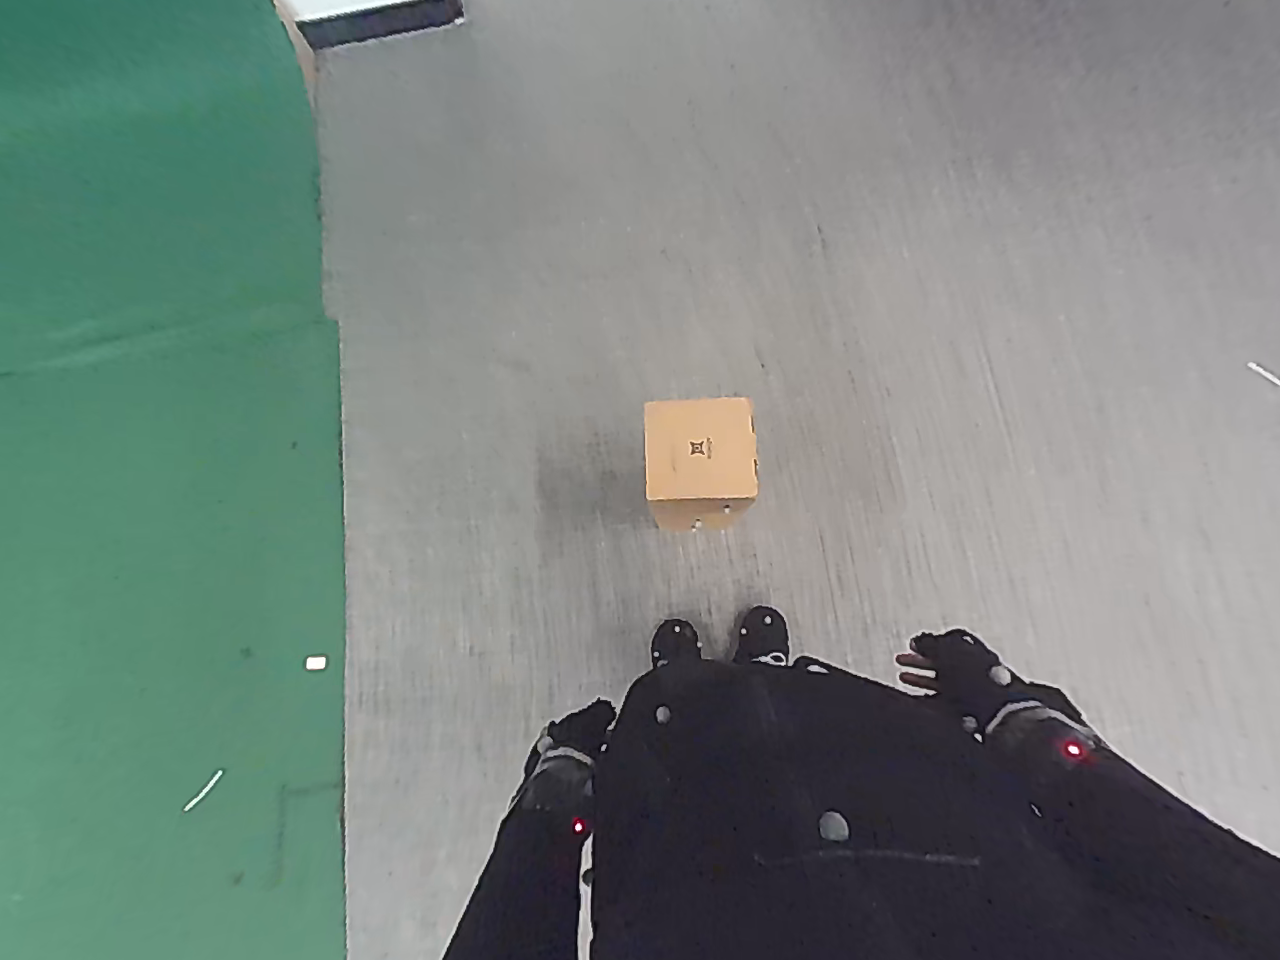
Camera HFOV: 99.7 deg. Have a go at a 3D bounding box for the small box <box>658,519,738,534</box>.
[{"bbox_3d":[0.129,0.034,1.257,0.179,0.176,0.168,-3,78,5],"label":"small box"}]

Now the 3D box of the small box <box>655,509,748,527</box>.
[{"bbox_3d":[0.116,0.004,1.100,0.179,0.176,0.168,-5,80,4],"label":"small box"}]

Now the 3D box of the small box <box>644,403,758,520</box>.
[{"bbox_3d":[0.101,-0.025,0.938,0.179,0.176,0.168,-3,77,5],"label":"small box"}]
